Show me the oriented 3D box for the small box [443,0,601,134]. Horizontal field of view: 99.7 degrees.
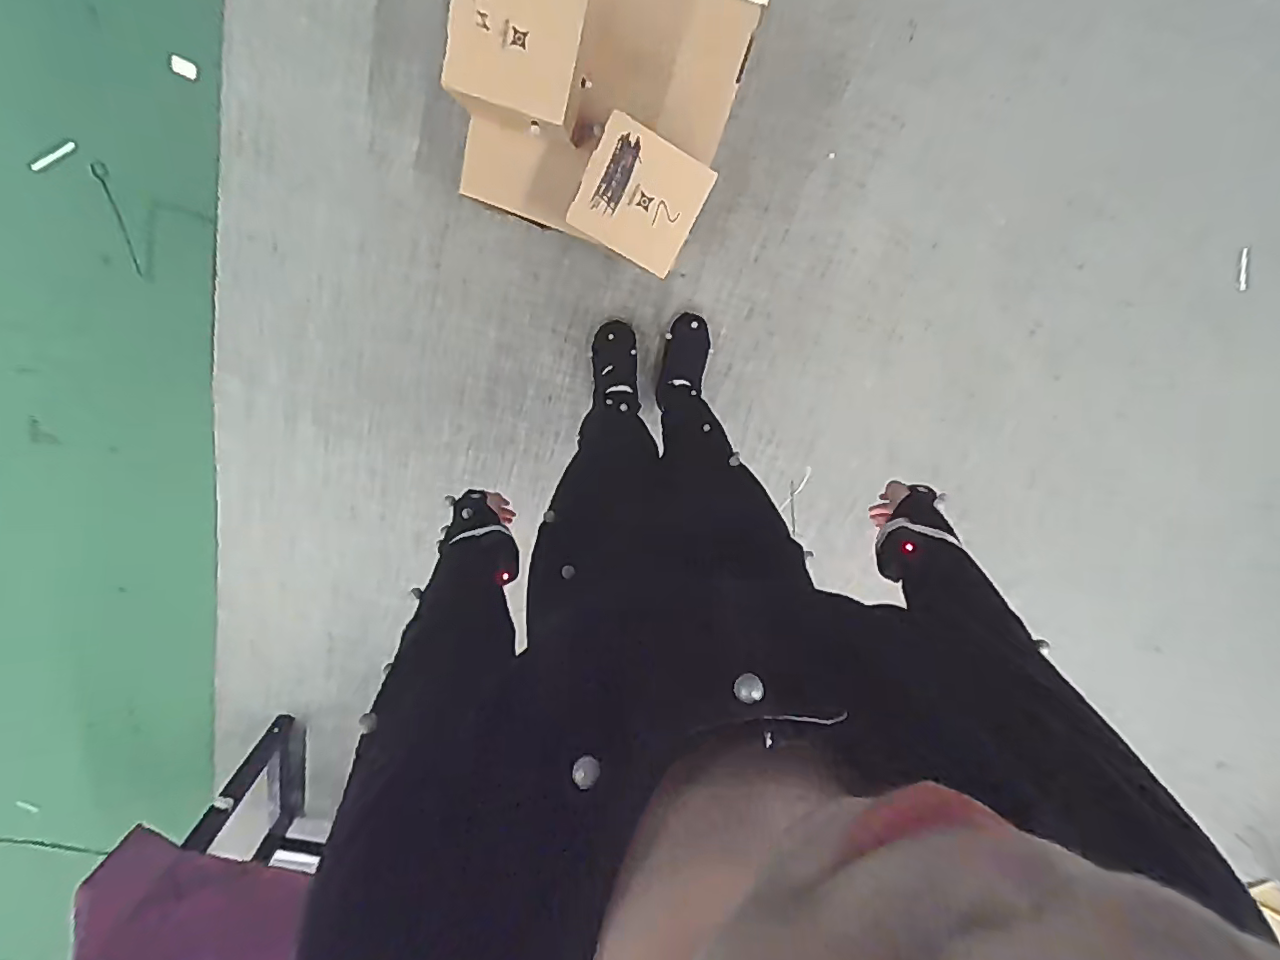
[{"bbox_3d":[-0.162,-0.631,0.789,0.179,0.176,0.168,16,112,-6],"label":"small box"}]
